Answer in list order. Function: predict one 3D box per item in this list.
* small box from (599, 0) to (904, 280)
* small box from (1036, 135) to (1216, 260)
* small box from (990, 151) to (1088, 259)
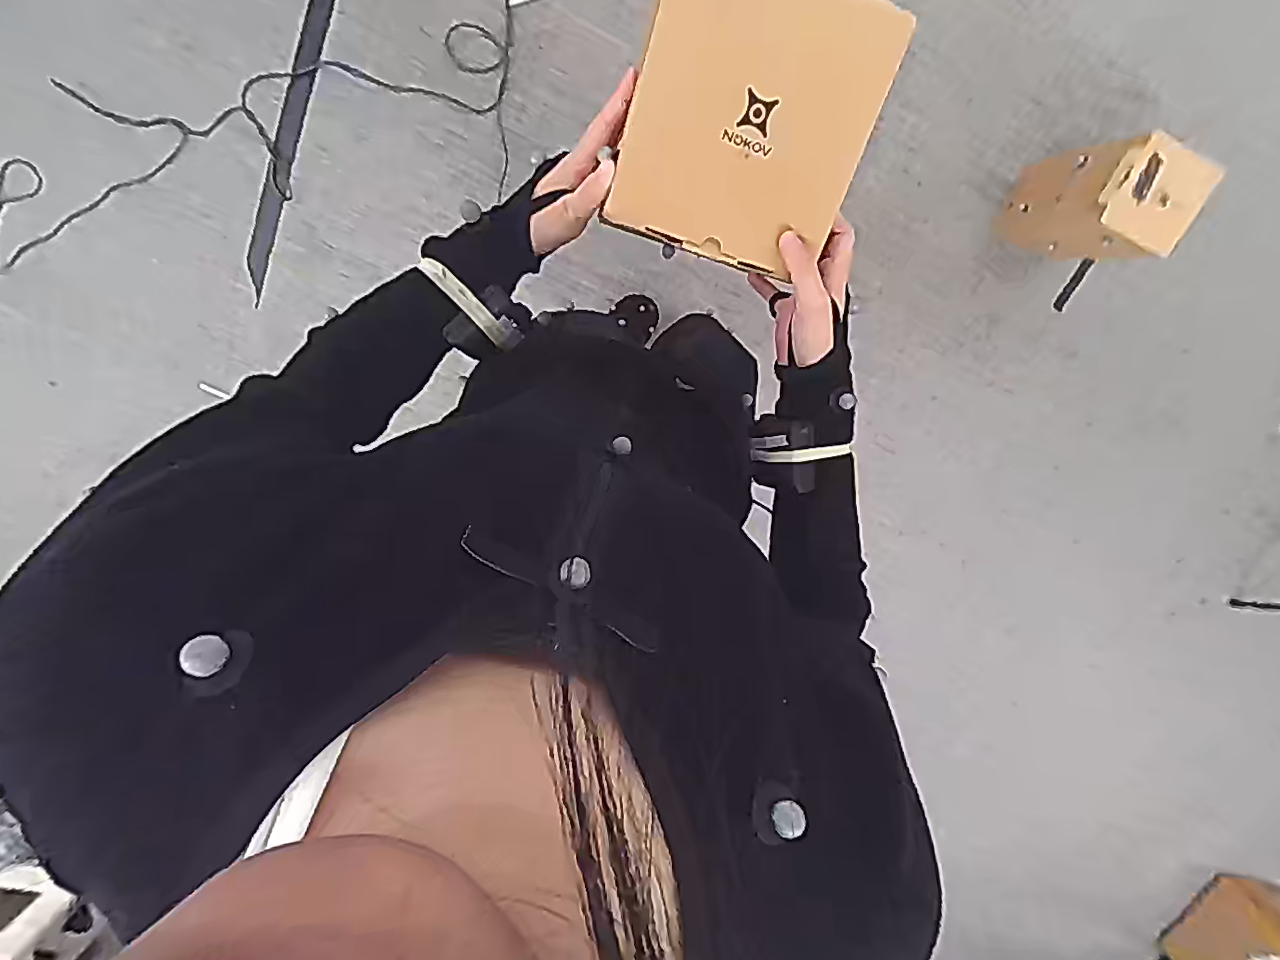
[{"bbox_3d":[0.065,-0.282,0.440,0.168,0.176,0.179,13,114,-12],"label":"small box"},{"bbox_3d":[0.968,-0.558,1.098,0.179,0.176,0.168,21,110,-10],"label":"small box"},{"bbox_3d":[0.967,-0.622,1.250,0.179,0.176,0.168,20,110,-10],"label":"small box"}]
